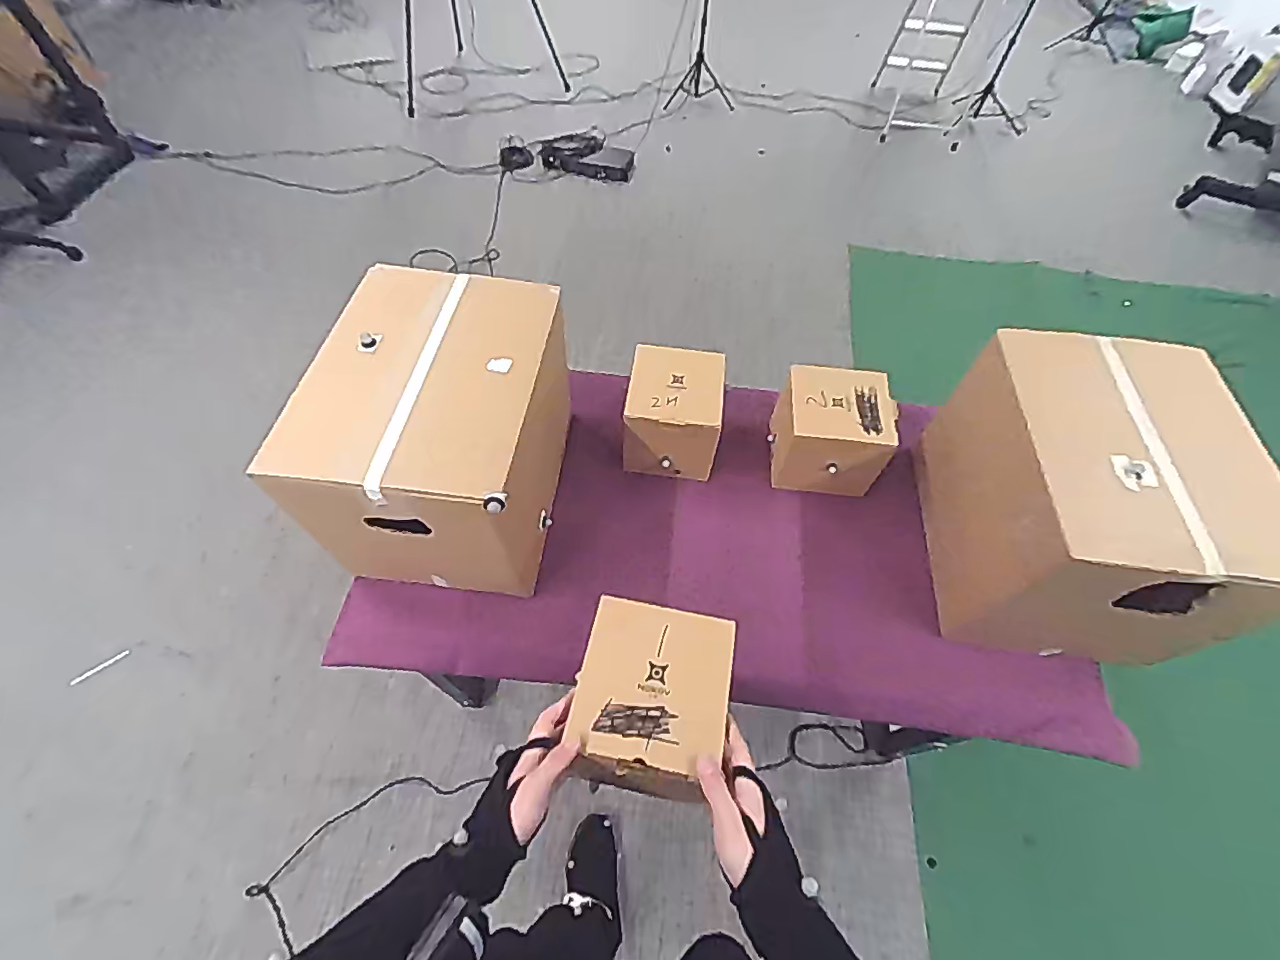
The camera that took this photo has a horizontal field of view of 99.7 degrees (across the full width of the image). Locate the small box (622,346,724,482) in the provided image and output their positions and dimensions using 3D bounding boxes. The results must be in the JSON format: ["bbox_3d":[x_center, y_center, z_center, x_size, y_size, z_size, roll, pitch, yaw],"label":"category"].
[{"bbox_3d":[0.058,-0.120,1.006,0.168,0.176,0.179,7,57,3],"label":"small box"}]

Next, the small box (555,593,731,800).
[{"bbox_3d":[0.009,0.266,0.654,0.168,0.176,0.179,10,52,6],"label":"small box"}]

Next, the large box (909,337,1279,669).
[{"bbox_3d":[0.667,0.040,0.851,0.320,0.320,0.408,7,57,4],"label":"large box"}]
